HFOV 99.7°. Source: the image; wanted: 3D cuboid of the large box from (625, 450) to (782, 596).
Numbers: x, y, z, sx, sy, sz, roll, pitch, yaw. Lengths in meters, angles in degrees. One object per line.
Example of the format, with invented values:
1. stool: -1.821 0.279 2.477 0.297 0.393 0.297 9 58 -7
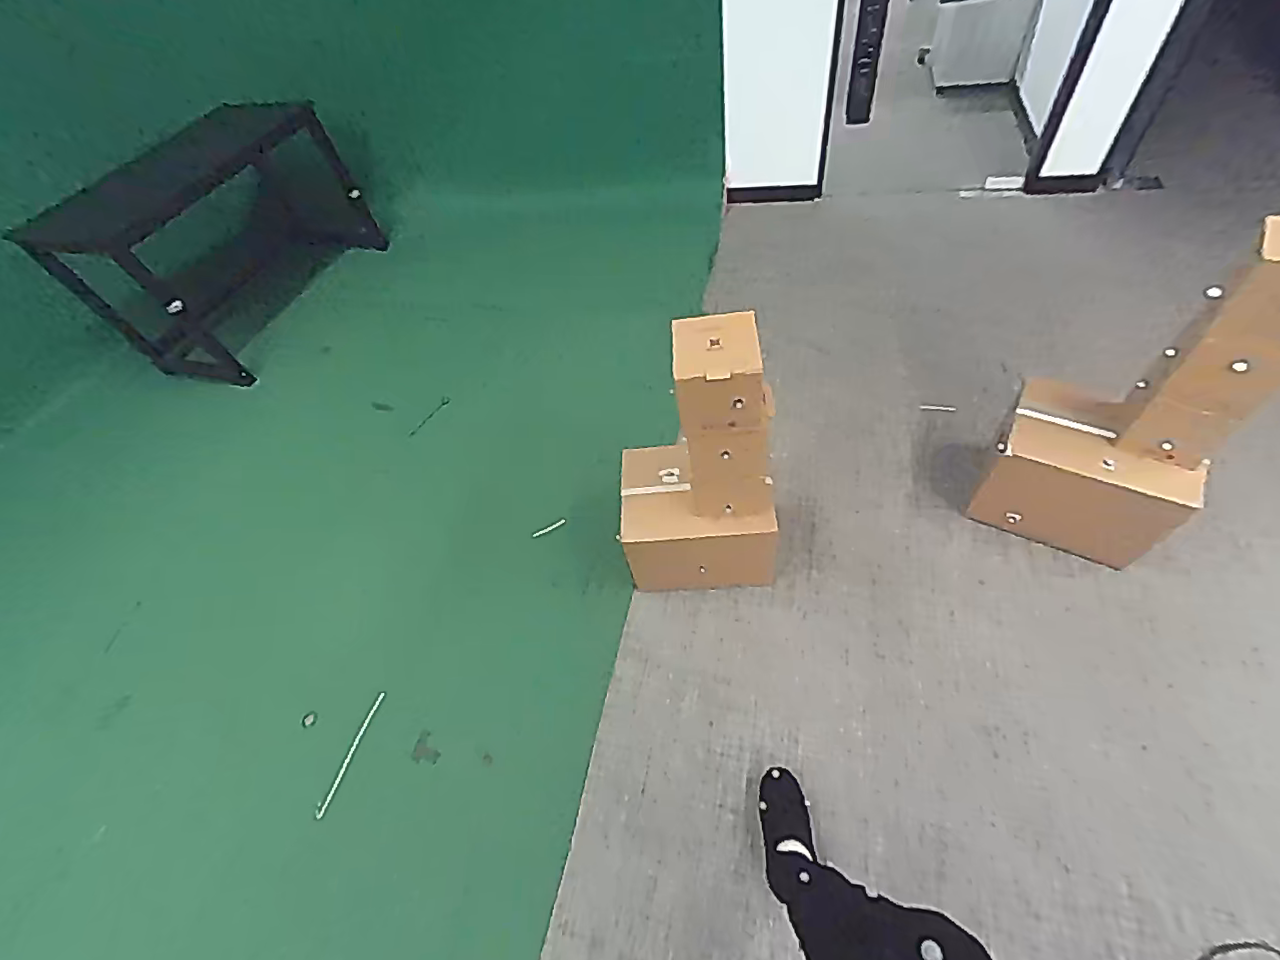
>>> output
1. large box: 0.182 0.122 1.572 0.408 0.320 0.320 -6 52 8

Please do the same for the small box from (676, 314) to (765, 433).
1. small box: 0.165 -0.208 1.099 0.168 0.176 0.179 -4 53 8

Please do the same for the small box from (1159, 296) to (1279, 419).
1. small box: 1.259 -0.253 1.136 0.179 0.176 0.168 25 60 26

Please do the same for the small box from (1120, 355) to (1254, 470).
1. small box: 1.274 -0.157 1.266 0.168 0.176 0.179 23 60 26

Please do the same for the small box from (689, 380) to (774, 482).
1. small box: 0.203 -0.112 1.226 0.179 0.176 0.168 -6 53 8

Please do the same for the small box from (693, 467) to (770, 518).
1. small box: 0.228 -0.016 1.357 0.179 0.176 0.168 -1 53 10
